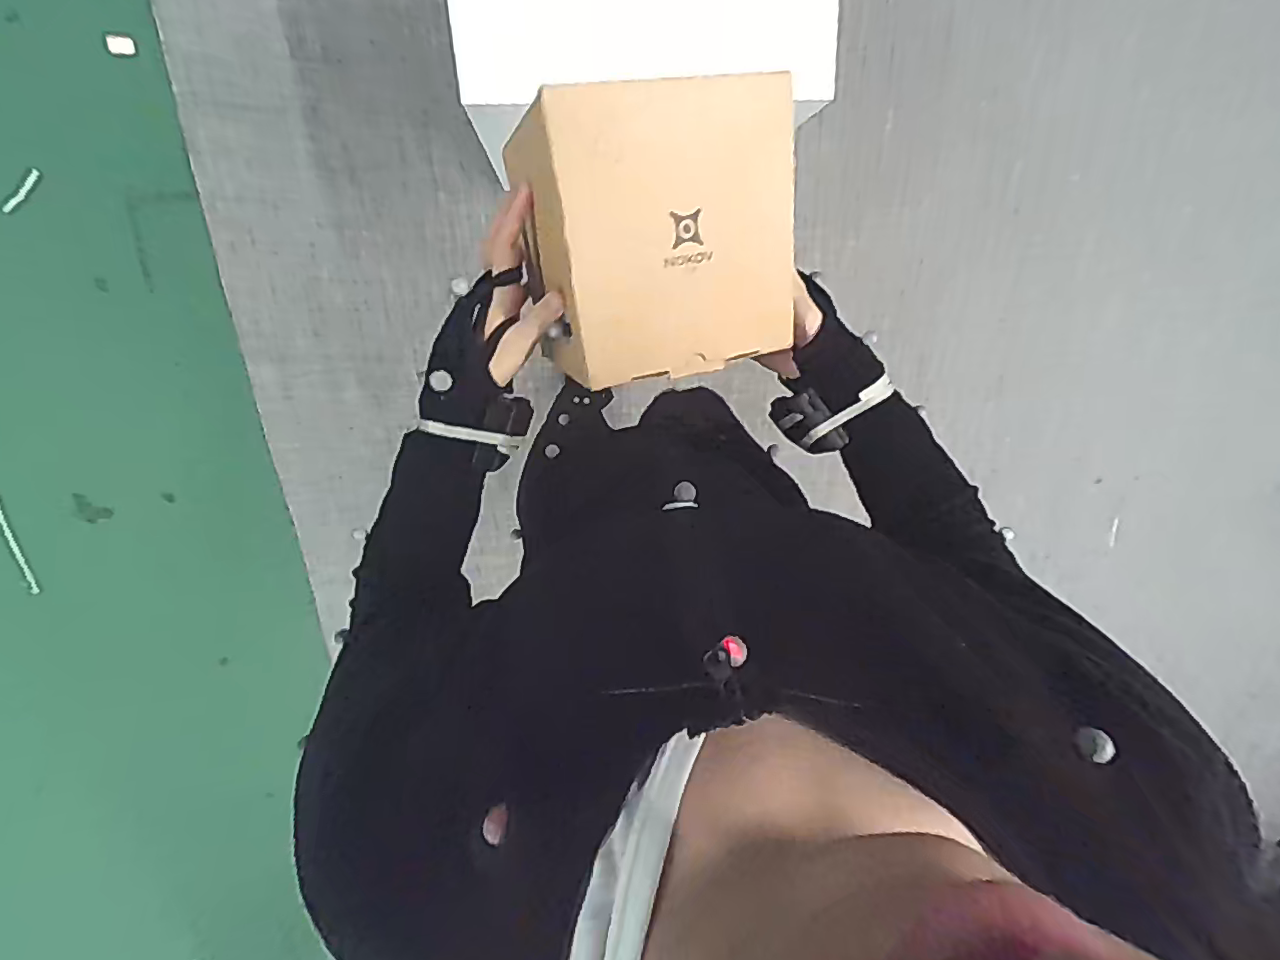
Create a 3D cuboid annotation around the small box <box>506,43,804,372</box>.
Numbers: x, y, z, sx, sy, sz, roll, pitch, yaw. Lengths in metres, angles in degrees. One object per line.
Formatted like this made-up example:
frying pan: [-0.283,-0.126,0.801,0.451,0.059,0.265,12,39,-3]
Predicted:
small box: [0.004,-0.193,0.409,0.168,0.176,0.179,-15,115,-16]
